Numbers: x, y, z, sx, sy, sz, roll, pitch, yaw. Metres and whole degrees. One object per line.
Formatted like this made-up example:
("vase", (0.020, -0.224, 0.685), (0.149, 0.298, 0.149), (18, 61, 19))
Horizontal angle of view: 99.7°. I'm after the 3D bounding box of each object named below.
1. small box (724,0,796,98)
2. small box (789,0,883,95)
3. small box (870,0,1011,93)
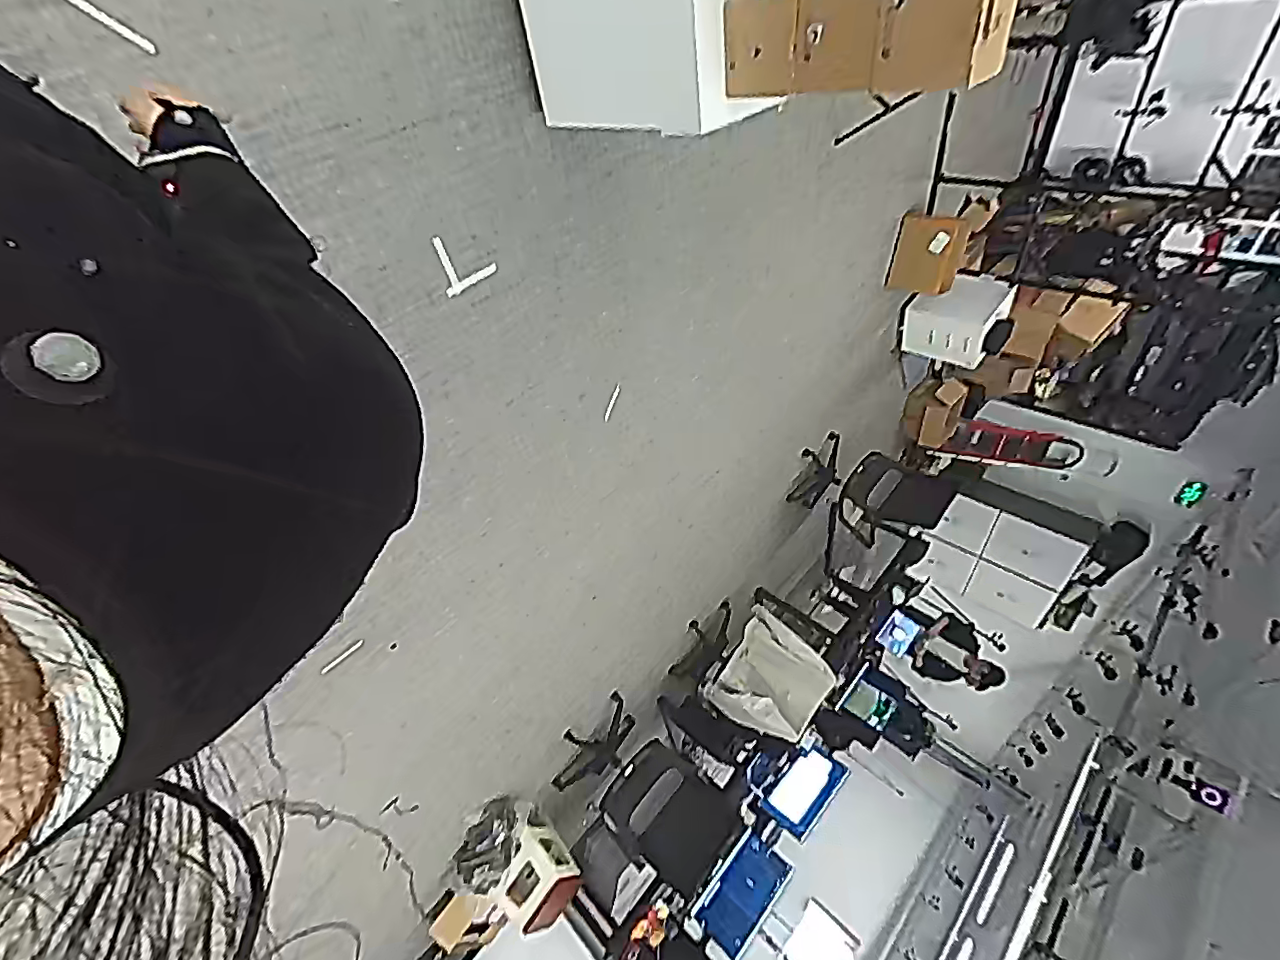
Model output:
("small box", (0.289, -0.923, 1.141), (0.179, 0.176, 0.168), (-38, 137, -28))
("small box", (0.412, -0.865, 1.050), (0.179, 0.176, 0.168), (-39, 137, -28))
("small box", (0.529, -0.800, 0.954), (0.179, 0.176, 0.168), (-39, 138, -31))
